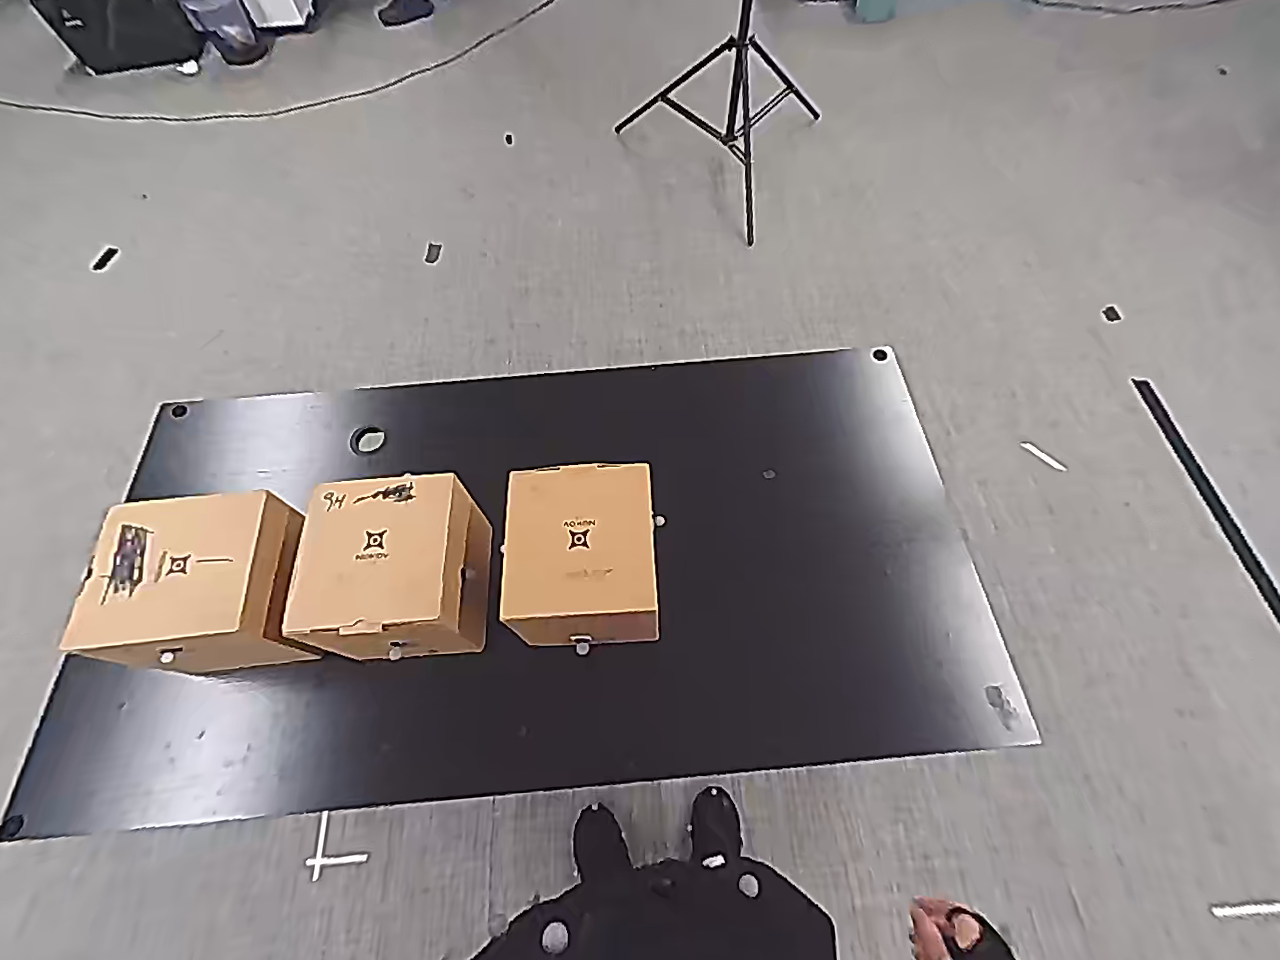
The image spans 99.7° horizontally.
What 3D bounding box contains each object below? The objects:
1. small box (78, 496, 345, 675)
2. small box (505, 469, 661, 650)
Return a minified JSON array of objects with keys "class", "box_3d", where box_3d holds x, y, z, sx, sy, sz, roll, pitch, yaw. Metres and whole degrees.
[{"class":"small box","box_3d":[-0.502,0.137,0.667,0.179,0.176,0.168,-6,63,-3]},{"class":"small box","box_3d":[-0.062,0.105,0.675,0.168,0.176,0.179,-5,64,1]}]
